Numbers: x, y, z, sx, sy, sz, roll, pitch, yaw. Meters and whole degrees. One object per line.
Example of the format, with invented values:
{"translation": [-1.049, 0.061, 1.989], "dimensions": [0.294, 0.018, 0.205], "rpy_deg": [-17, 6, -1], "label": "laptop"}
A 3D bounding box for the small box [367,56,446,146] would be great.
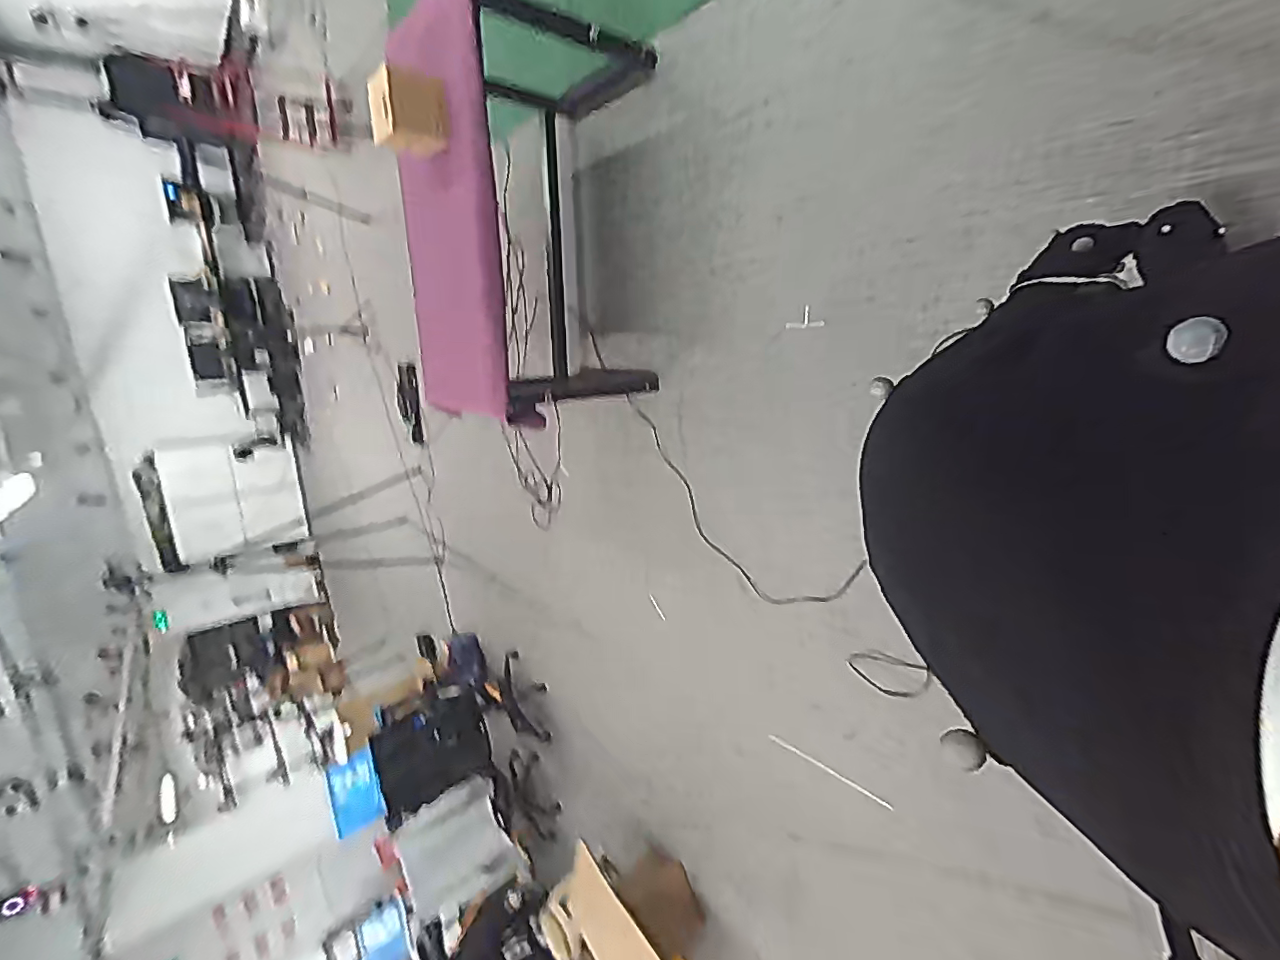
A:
{"translation": [-0.680, -1.103, 1.589], "dimensions": [0.179, 0.176, 0.168], "rpy_deg": [21, 115, 45], "label": "small box"}
